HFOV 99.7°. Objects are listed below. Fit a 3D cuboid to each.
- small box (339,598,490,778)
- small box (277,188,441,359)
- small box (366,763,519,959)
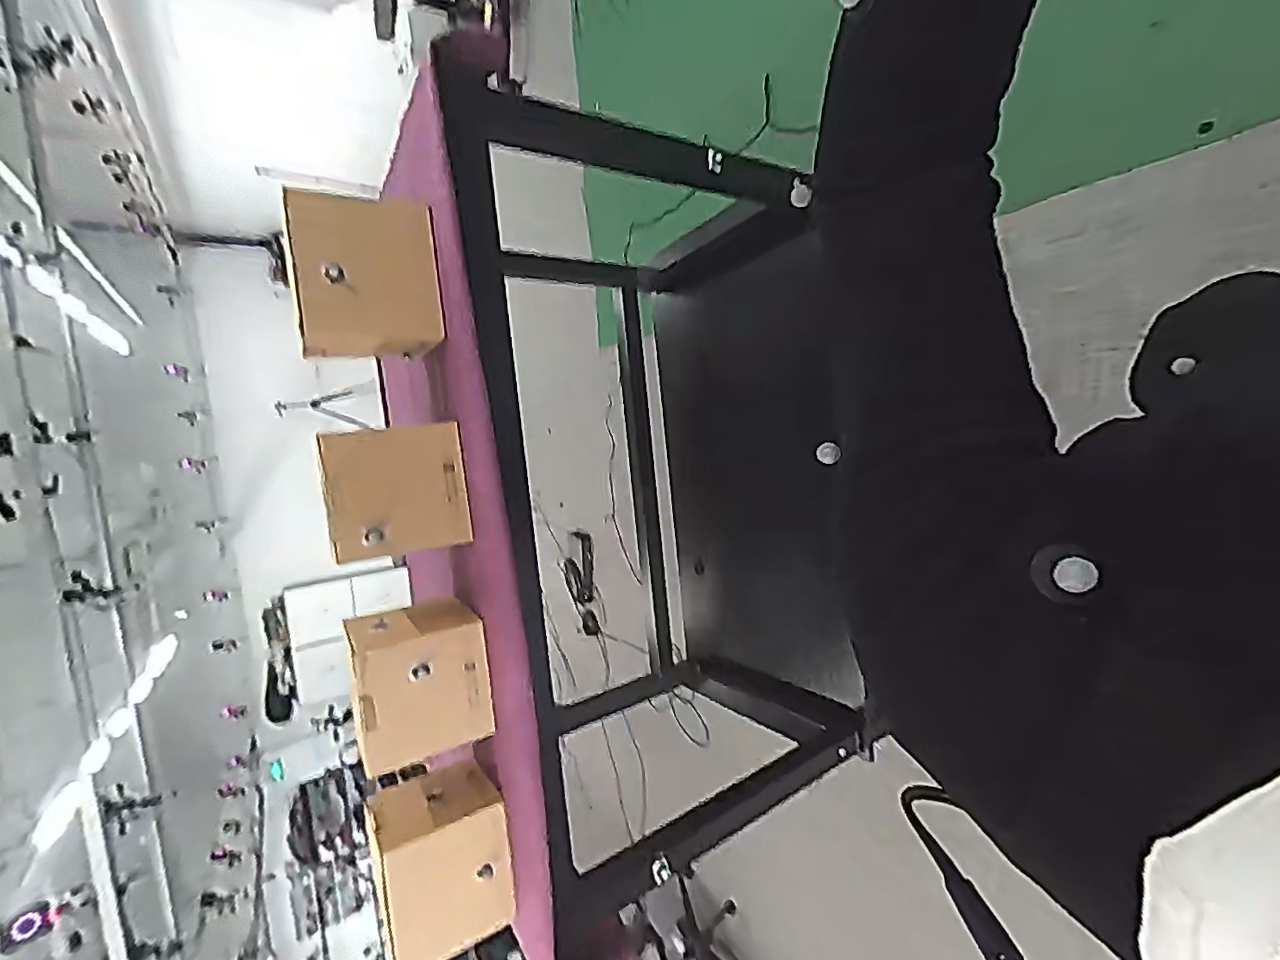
[{"bbox_3d":[-0.320,0.280,0.778,0.179,0.176,0.168,3,99,58],"label":"small box"},{"bbox_3d":[-0.381,-0.268,0.741,0.168,0.176,0.179,1,98,58],"label":"small box"},{"bbox_3d":[-0.290,0.552,0.790,0.168,0.176,0.179,-5,92,57],"label":"small box"}]
